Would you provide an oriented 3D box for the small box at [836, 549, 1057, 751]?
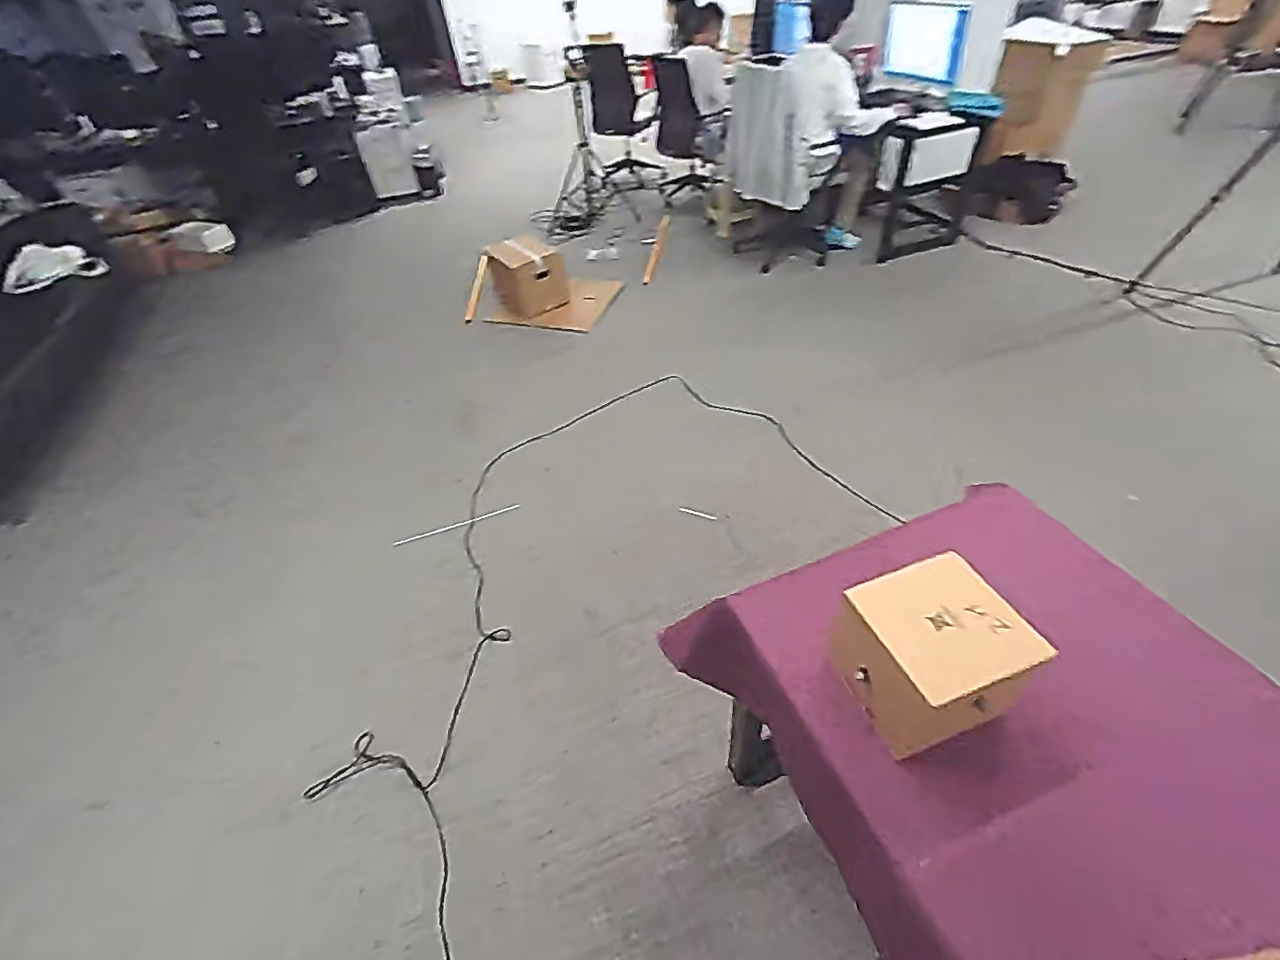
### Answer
[{"bbox_3d":[0.379,0.226,0.712,0.179,0.176,0.168,-17,46,-11],"label":"small box"}]
